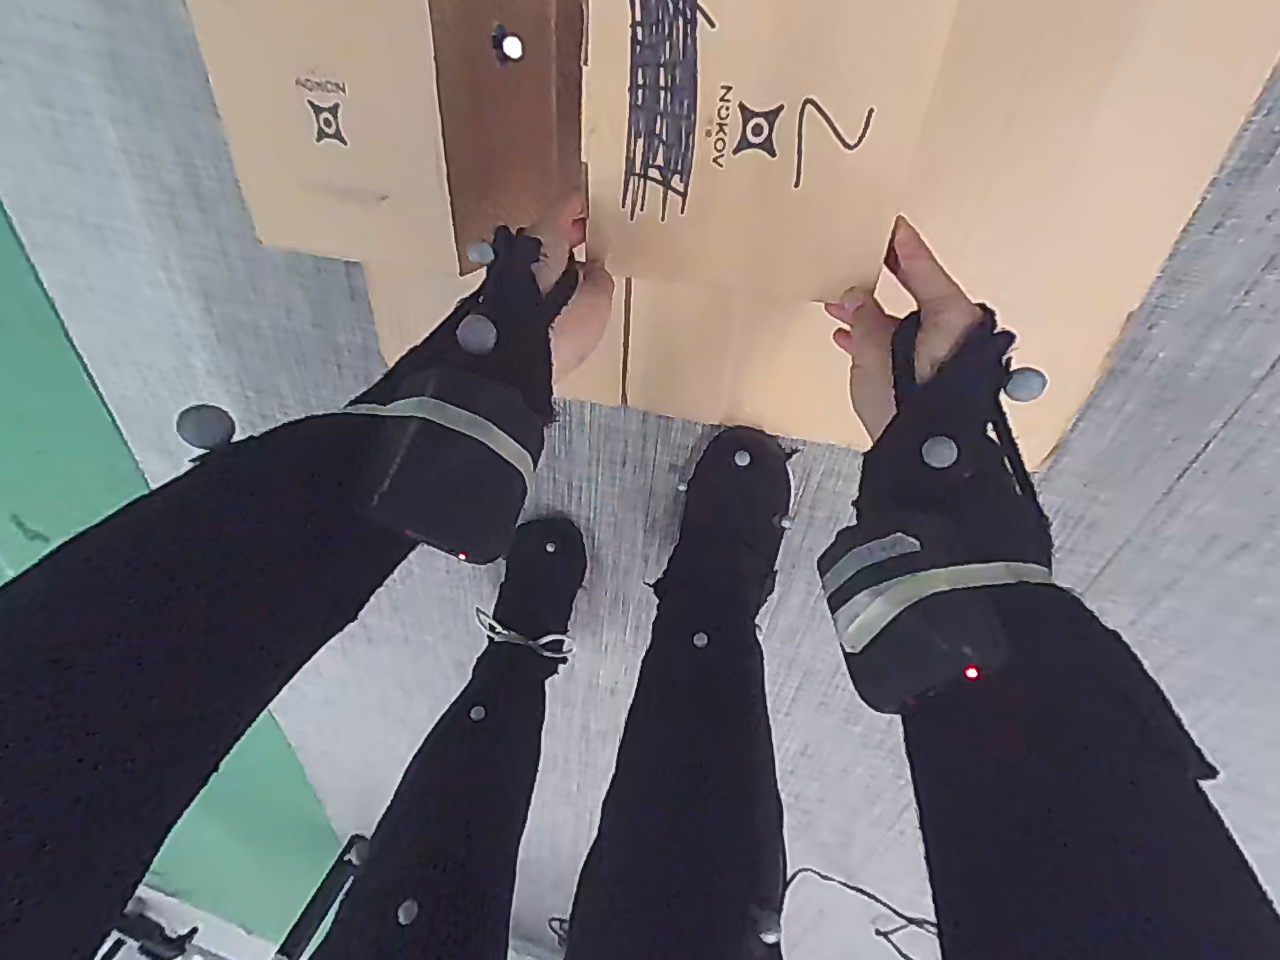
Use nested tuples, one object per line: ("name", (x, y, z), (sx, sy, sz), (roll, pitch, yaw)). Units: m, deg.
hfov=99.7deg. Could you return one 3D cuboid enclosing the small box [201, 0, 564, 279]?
("small box", (-0.163, -0.268, 0.401), (0.168, 0.176, 0.179), (12, 126, 11))
